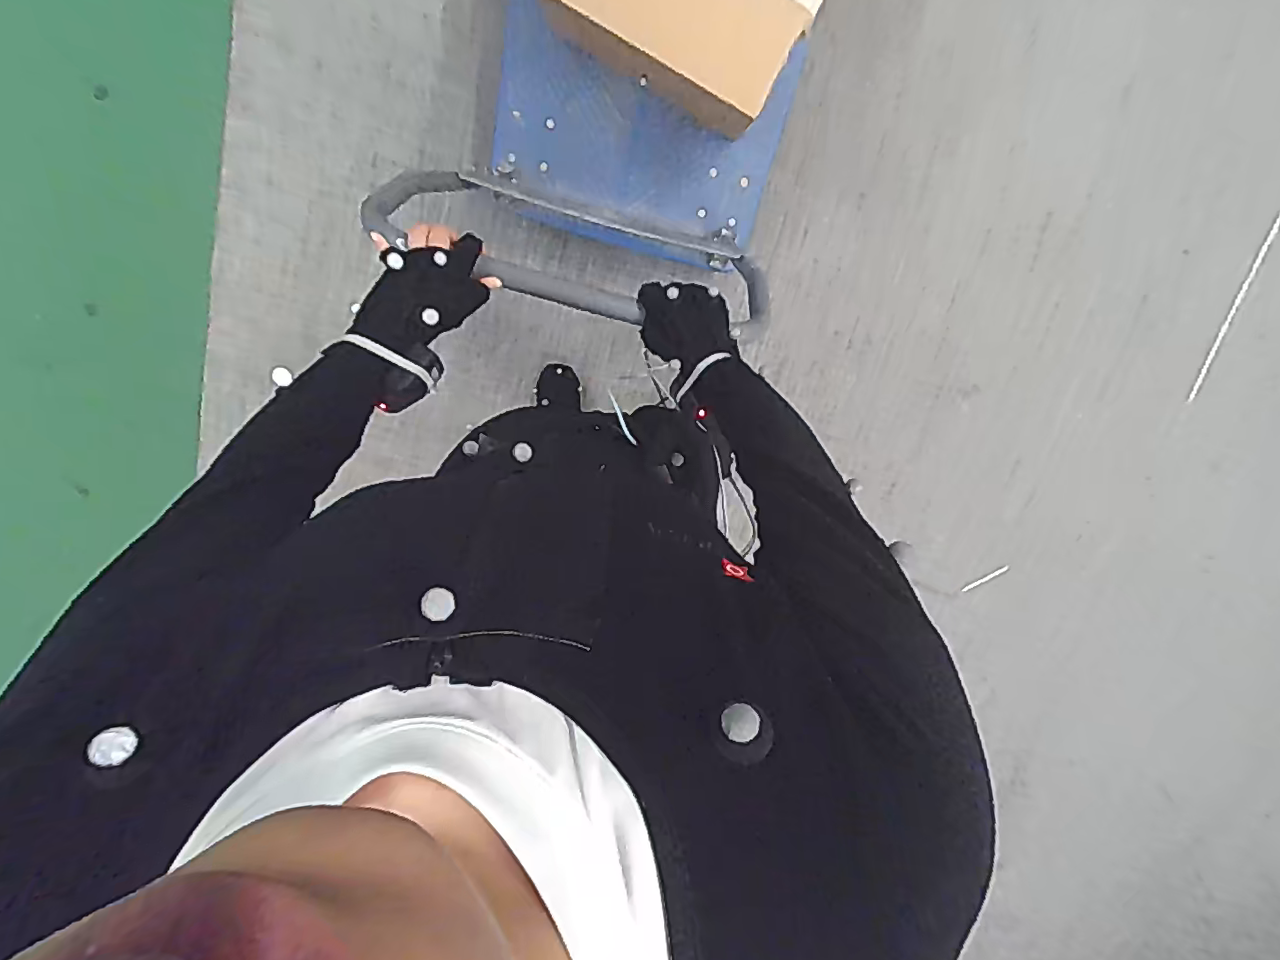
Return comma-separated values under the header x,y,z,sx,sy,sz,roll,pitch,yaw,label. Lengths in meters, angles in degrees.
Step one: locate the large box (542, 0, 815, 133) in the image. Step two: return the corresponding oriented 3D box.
x,y,z,sx,sy,sz,roll,pitch,yaw,label
0.084,-0.838,0.885,0.408,0.320,0.320,26,115,-9,large box
